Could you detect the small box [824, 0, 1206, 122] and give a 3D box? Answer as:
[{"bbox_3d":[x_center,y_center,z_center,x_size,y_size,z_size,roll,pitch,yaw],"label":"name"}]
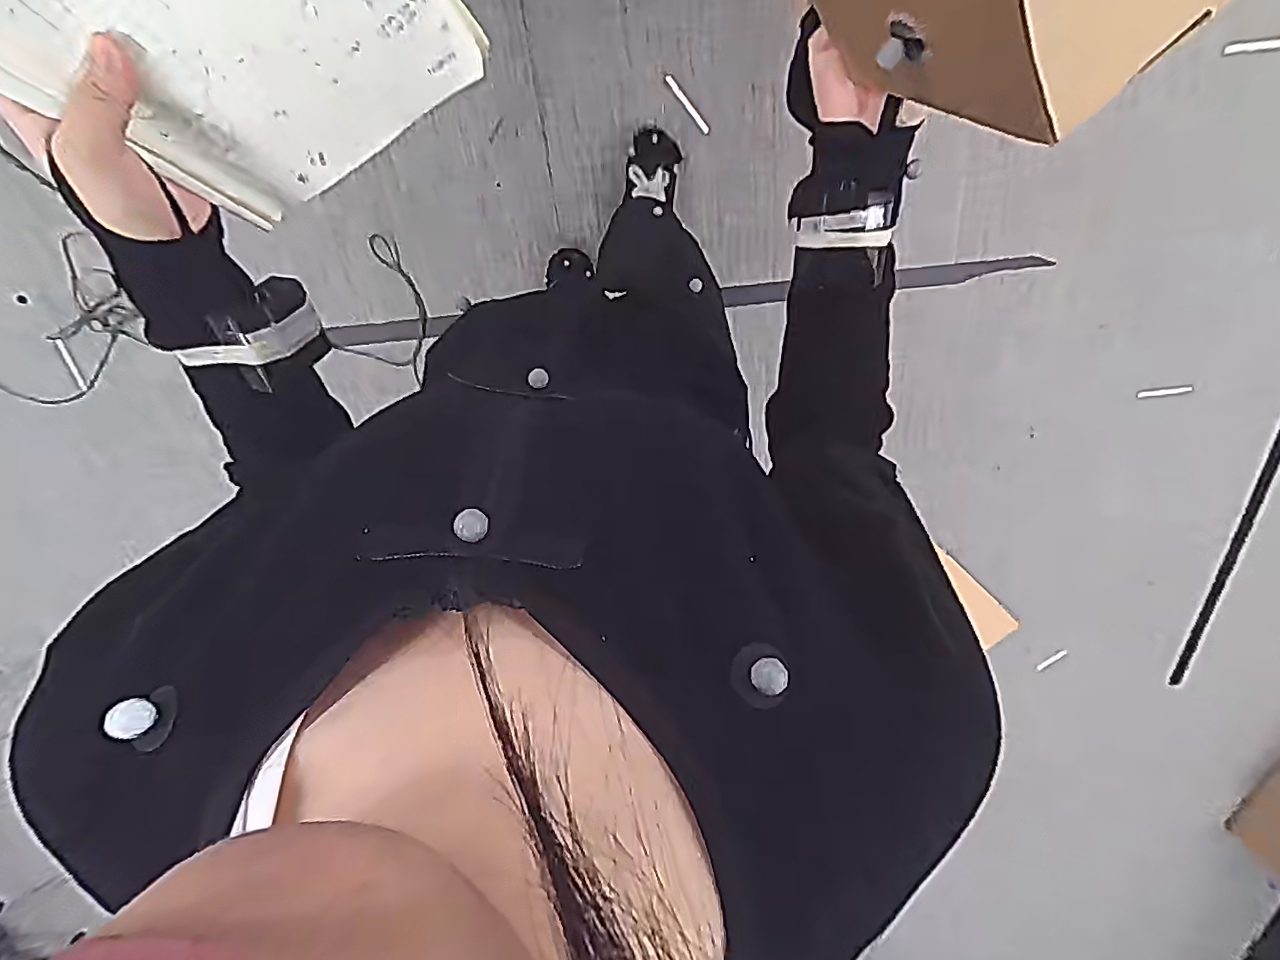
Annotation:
[{"bbox_3d":[0.148,-0.280,0.190,0.179,0.176,0.168,29,118,-37],"label":"small box"}]
